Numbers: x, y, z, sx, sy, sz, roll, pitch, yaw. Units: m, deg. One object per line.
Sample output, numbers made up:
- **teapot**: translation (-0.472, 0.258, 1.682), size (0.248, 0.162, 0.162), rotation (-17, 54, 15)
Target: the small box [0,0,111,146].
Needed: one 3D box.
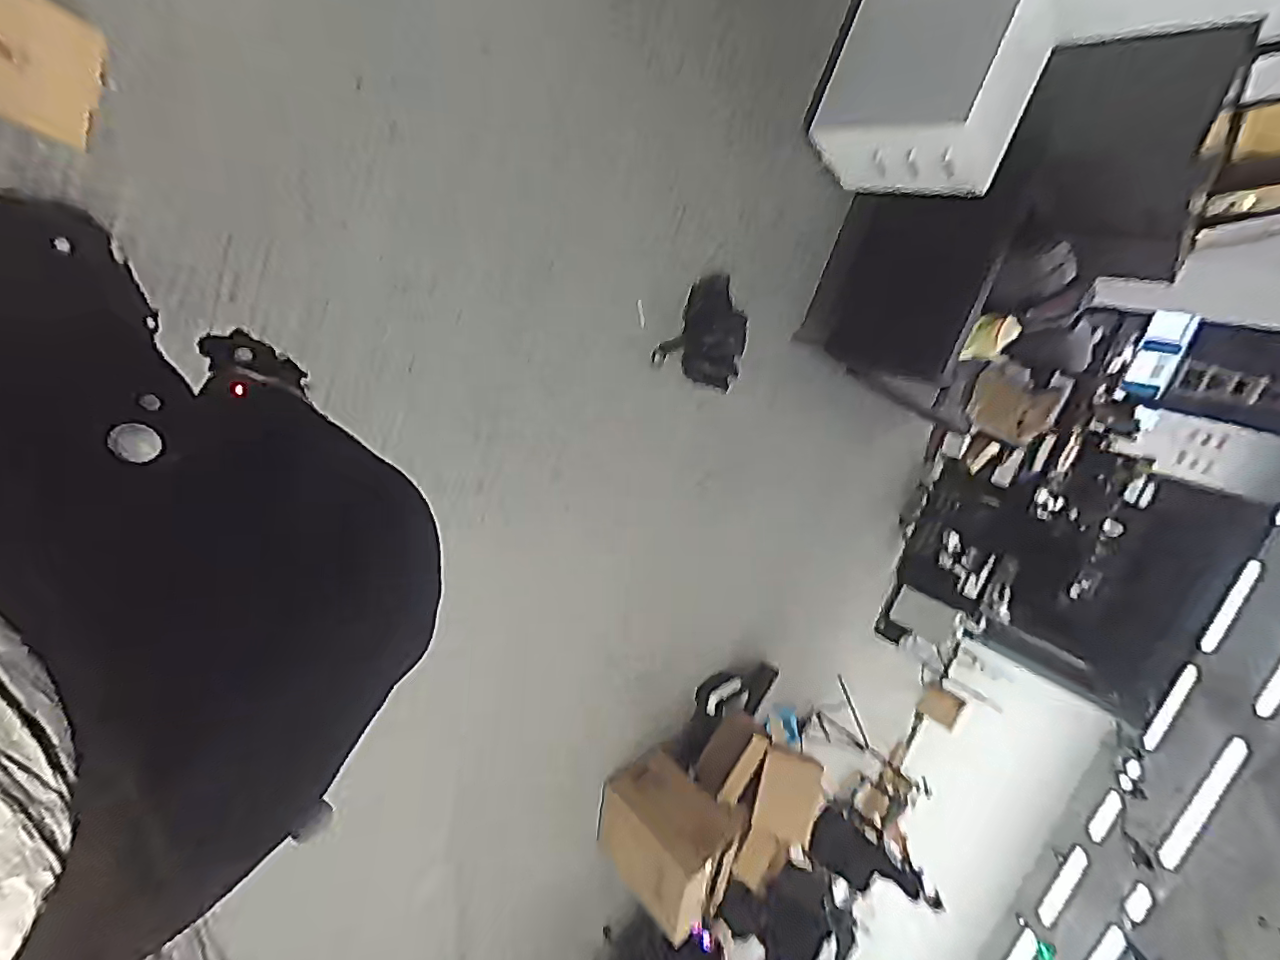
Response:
- **small box**: translation (-0.889, -0.605, 0.766), size (0.179, 0.176, 0.168), rotation (13, 101, -48)
